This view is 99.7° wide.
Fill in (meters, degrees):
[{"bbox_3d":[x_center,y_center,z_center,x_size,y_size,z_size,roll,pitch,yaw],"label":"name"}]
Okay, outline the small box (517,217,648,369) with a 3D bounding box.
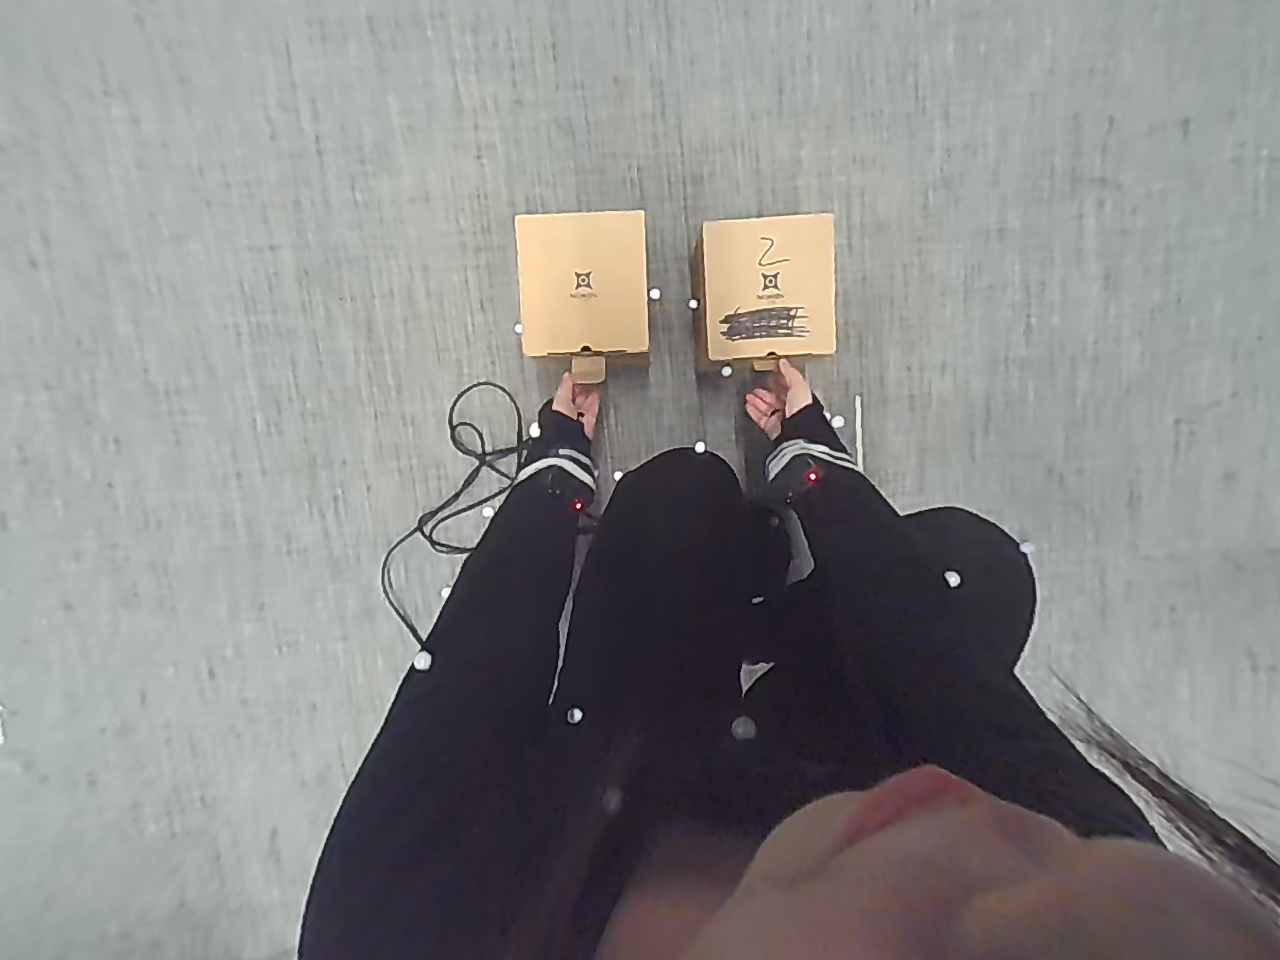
[{"bbox_3d":[-0.074,-0.256,0.774,0.168,0.176,0.179,-2,98,1],"label":"small box"}]
